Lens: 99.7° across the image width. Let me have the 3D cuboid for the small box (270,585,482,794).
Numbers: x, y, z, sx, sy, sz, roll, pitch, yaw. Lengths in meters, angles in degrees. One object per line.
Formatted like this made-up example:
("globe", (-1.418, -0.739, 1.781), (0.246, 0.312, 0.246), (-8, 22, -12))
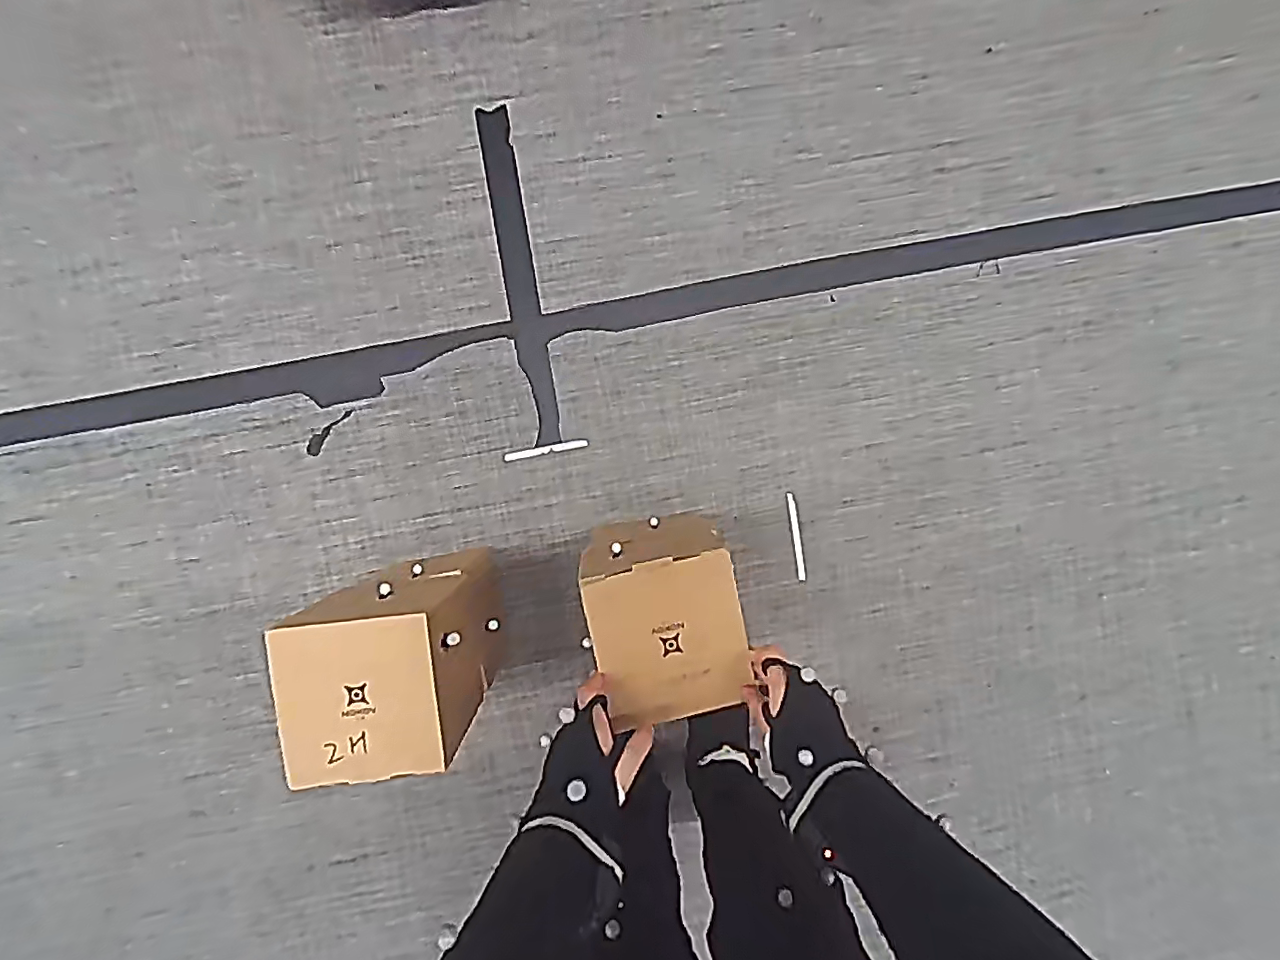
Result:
("small box", (-0.295, 0.229, 0.640), (0.168, 0.176, 0.179), (-5, 95, -2))

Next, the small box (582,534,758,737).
("small box", (0.028, 0.171, 0.659), (0.168, 0.176, 0.179), (-13, 96, -2))

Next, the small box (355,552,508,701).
("small box", (-0.305, 0.222, 0.806), (0.168, 0.176, 0.179), (-11, 95, -2))

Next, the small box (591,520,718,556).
("small box", (0.024, 0.159, 0.822), (0.179, 0.176, 0.168), (-7, 95, -4))
